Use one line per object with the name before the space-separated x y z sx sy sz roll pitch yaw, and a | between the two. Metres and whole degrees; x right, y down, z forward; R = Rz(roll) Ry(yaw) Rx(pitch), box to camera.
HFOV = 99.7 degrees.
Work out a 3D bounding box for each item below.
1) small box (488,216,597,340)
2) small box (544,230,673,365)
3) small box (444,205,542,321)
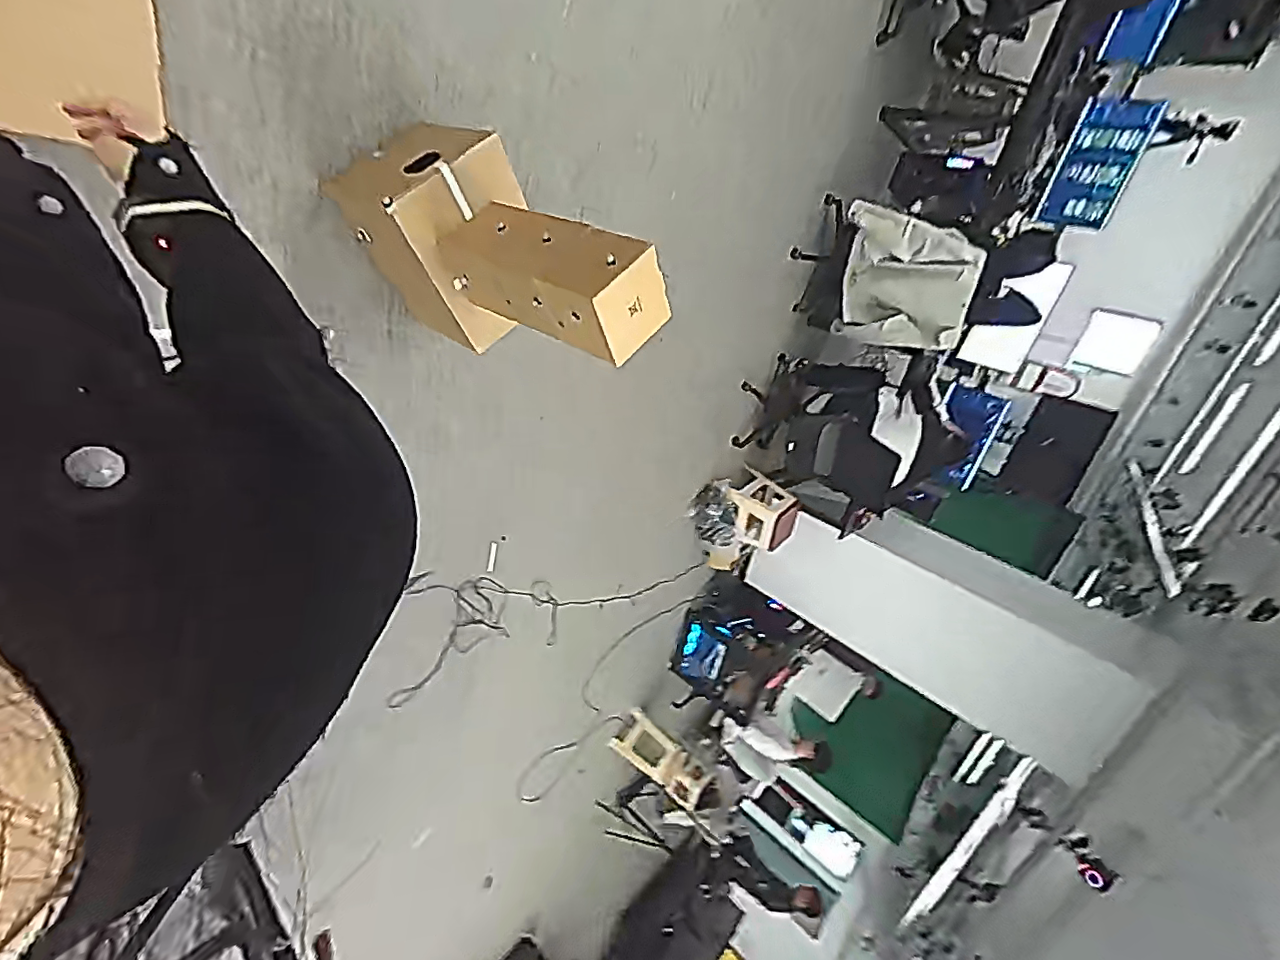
small box | -0.184 -0.434 1.147 0.179 0.176 0.168 -49 146 -19
small box | -0.065 -0.362 1.062 0.179 0.176 0.168 -49 146 -18
small box | -0.307 -0.500 1.234 0.179 0.176 0.168 -48 146 -18
